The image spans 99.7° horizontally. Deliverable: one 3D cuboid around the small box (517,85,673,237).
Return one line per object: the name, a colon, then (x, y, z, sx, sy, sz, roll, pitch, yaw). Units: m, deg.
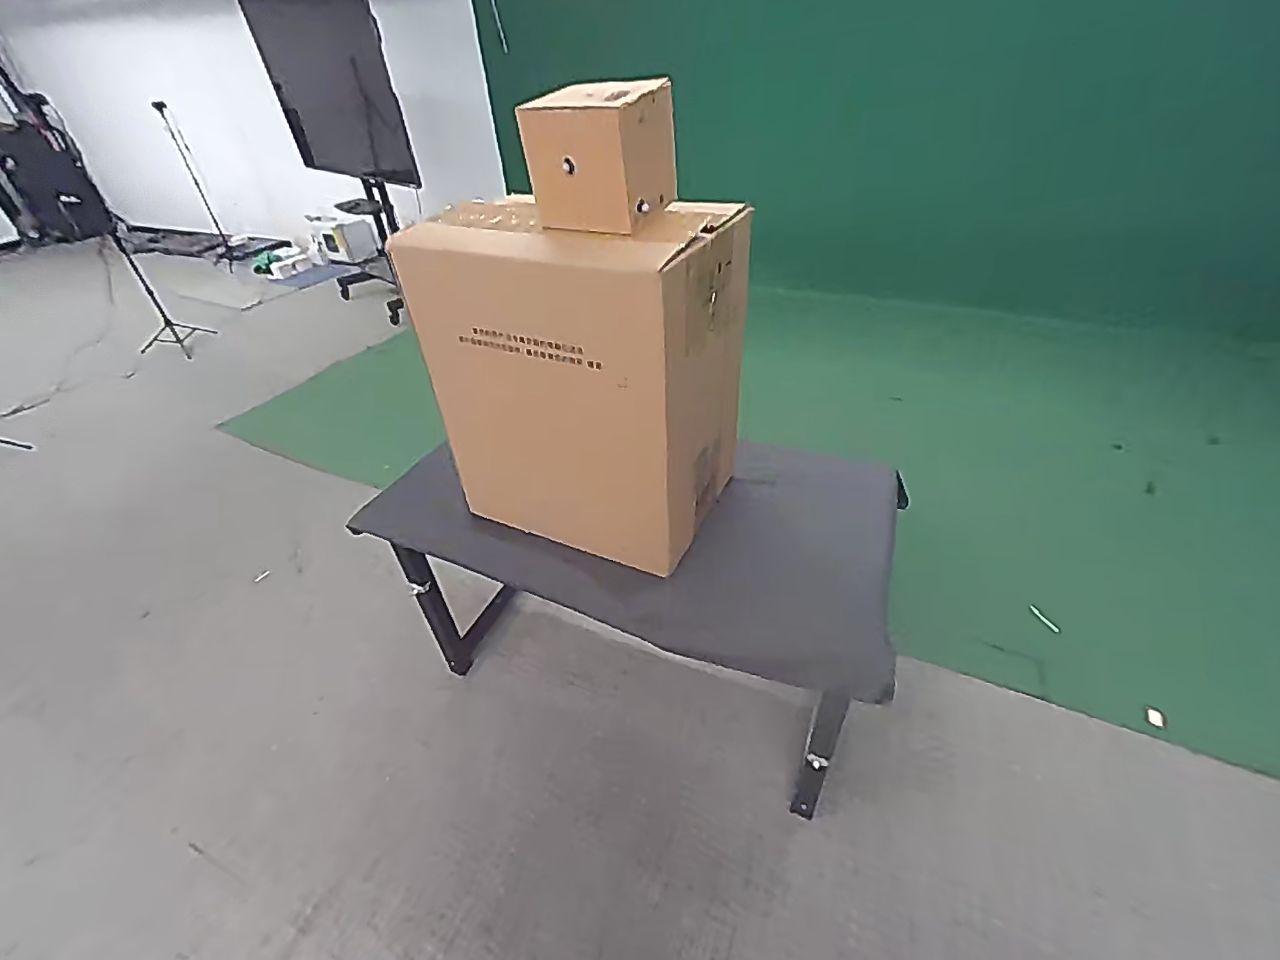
small box: (-0.058, -0.498, 0.850, 0.179, 0.176, 0.168, 15, 49, 24)
